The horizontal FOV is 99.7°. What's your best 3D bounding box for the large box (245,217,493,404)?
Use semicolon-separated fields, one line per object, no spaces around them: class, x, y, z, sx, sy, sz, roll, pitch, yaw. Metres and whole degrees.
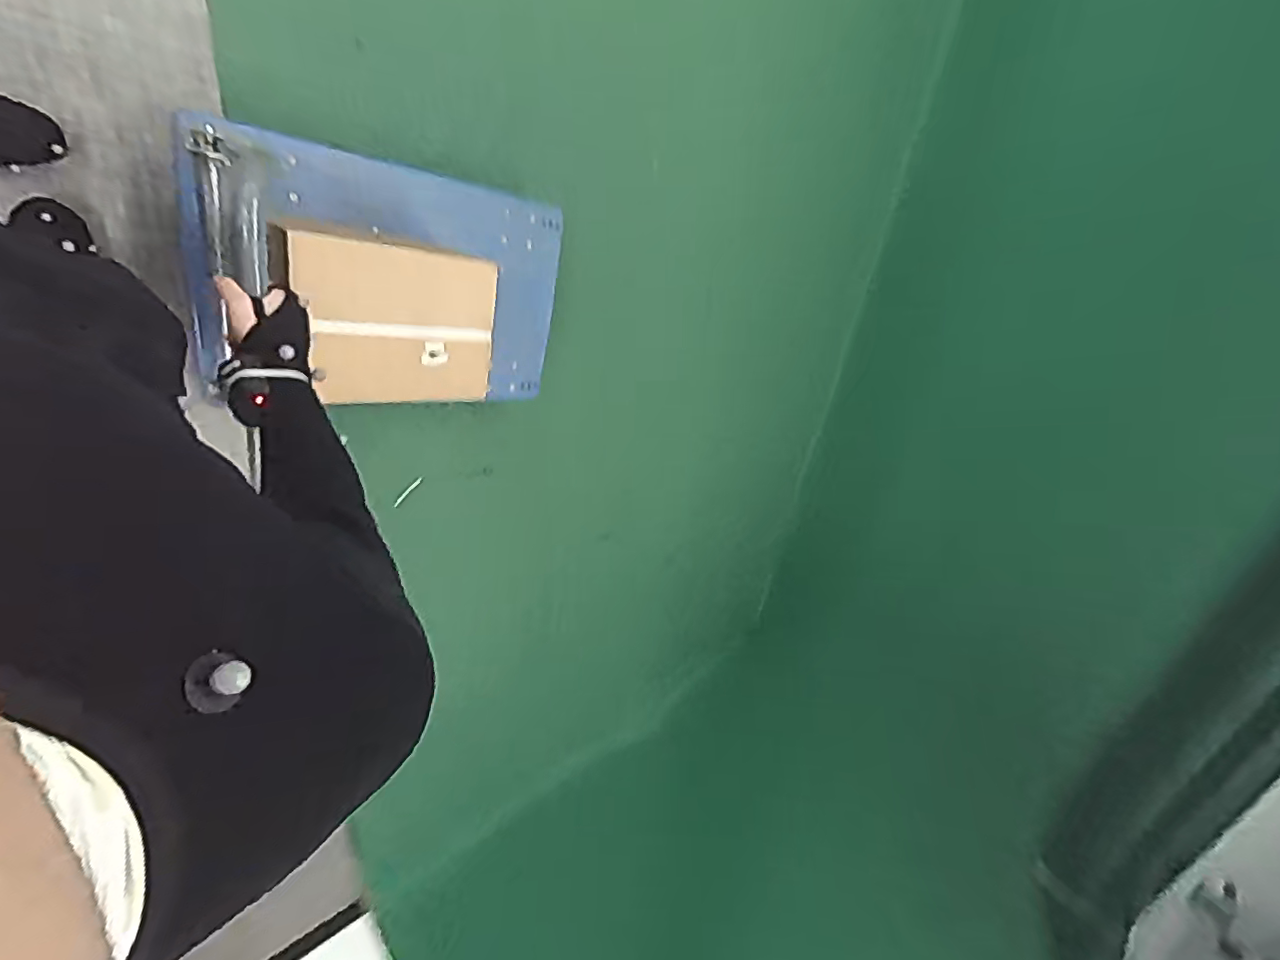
large box;-0.595;-0.370;1.202;0.408;0.320;0.320;-10;122;-44
